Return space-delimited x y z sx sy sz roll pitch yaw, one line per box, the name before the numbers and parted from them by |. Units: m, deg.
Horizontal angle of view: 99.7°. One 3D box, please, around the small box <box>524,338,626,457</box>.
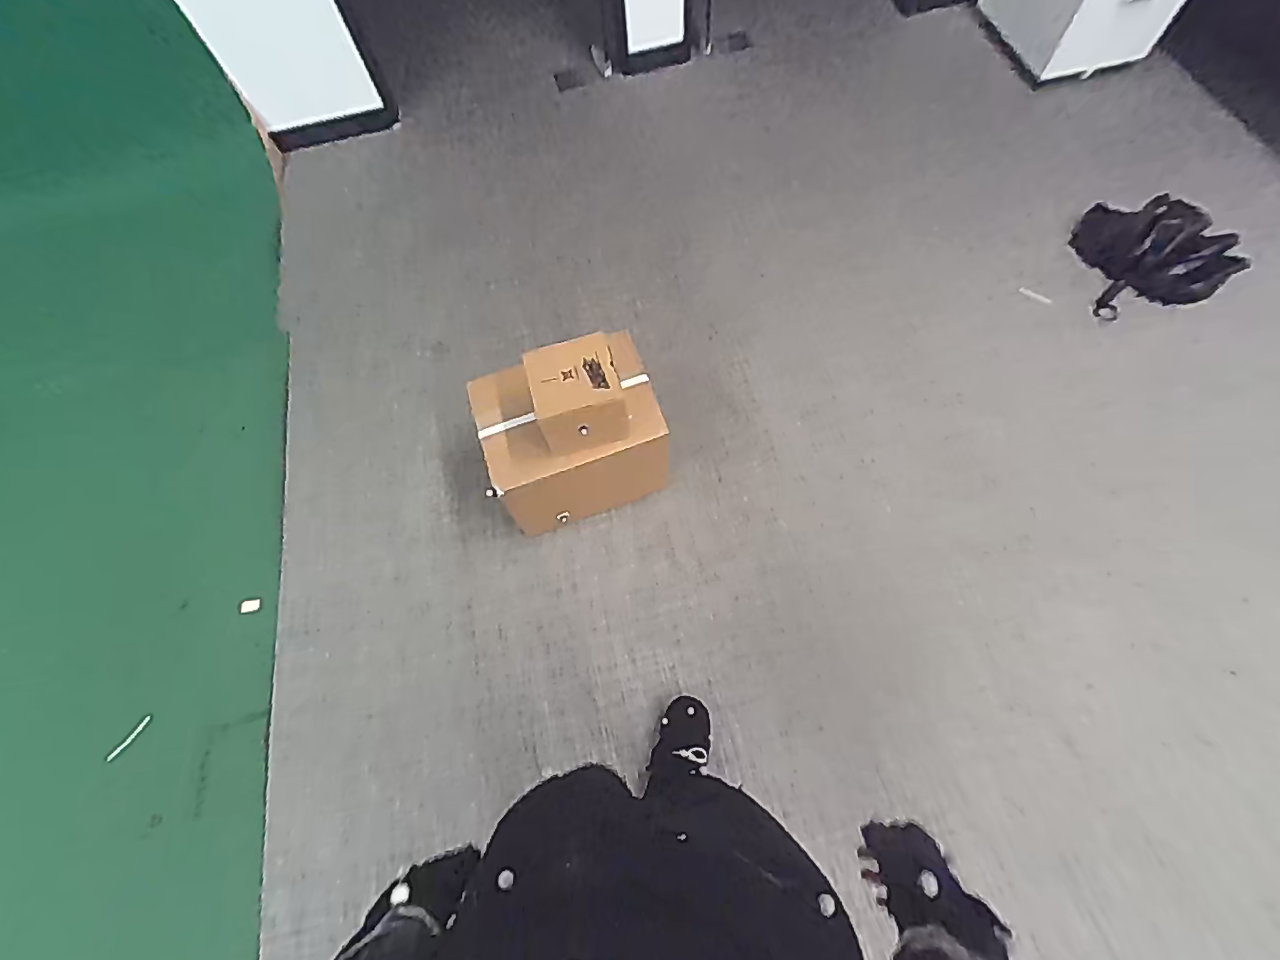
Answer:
small box | -0.130 -0.170 1.153 0.179 0.176 0.168 -16 67 -2
